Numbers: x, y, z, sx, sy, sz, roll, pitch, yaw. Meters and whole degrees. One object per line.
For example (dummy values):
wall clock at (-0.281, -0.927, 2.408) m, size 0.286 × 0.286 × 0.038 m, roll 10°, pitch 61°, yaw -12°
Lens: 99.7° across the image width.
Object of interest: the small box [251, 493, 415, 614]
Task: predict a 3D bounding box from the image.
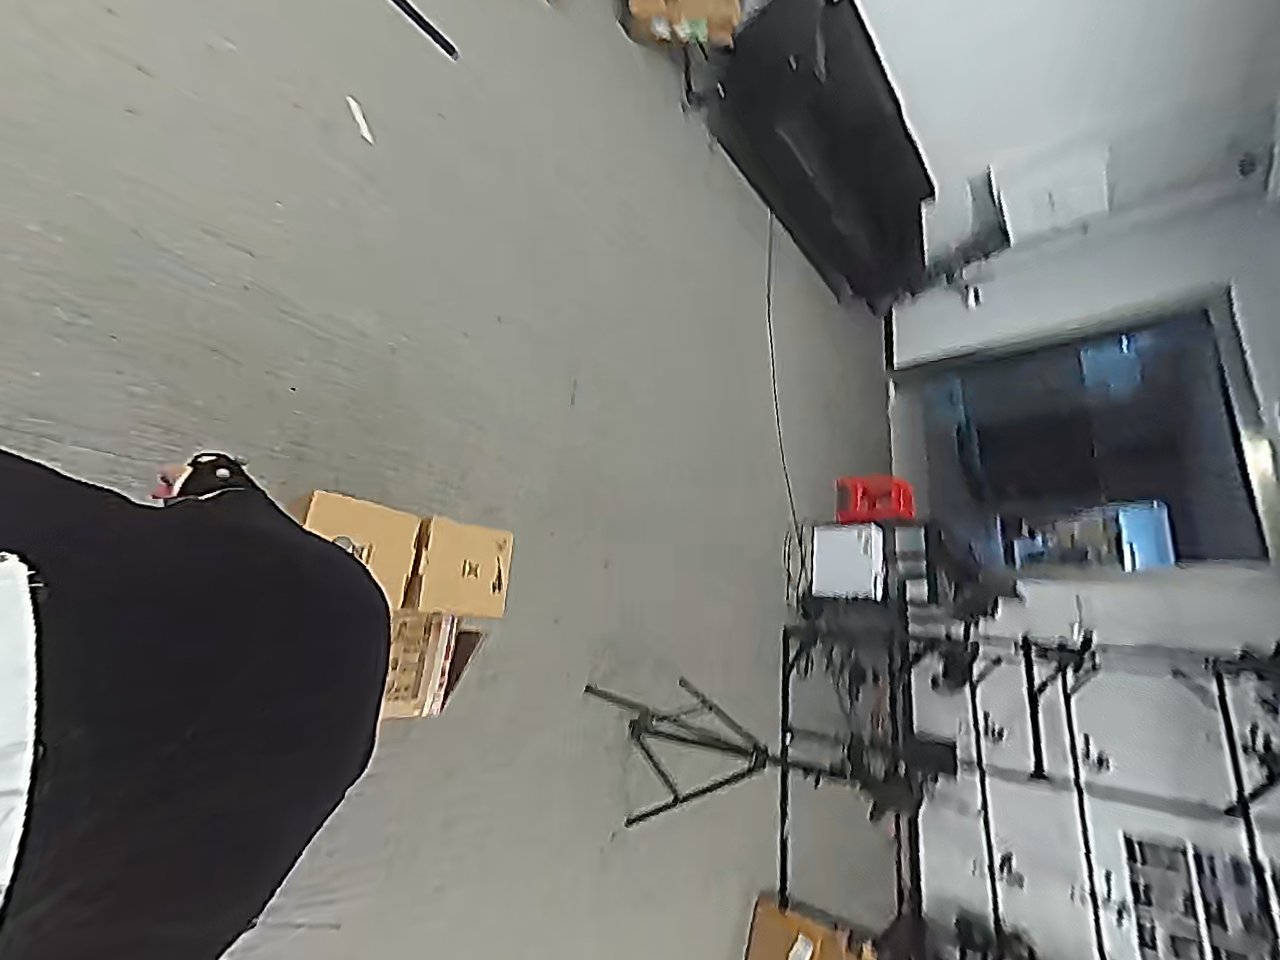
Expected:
small box at (-0.517, 0.132, 0.914) m, size 0.179 × 0.176 × 0.168 m, roll 23°, pitch 64°, yaw -43°
